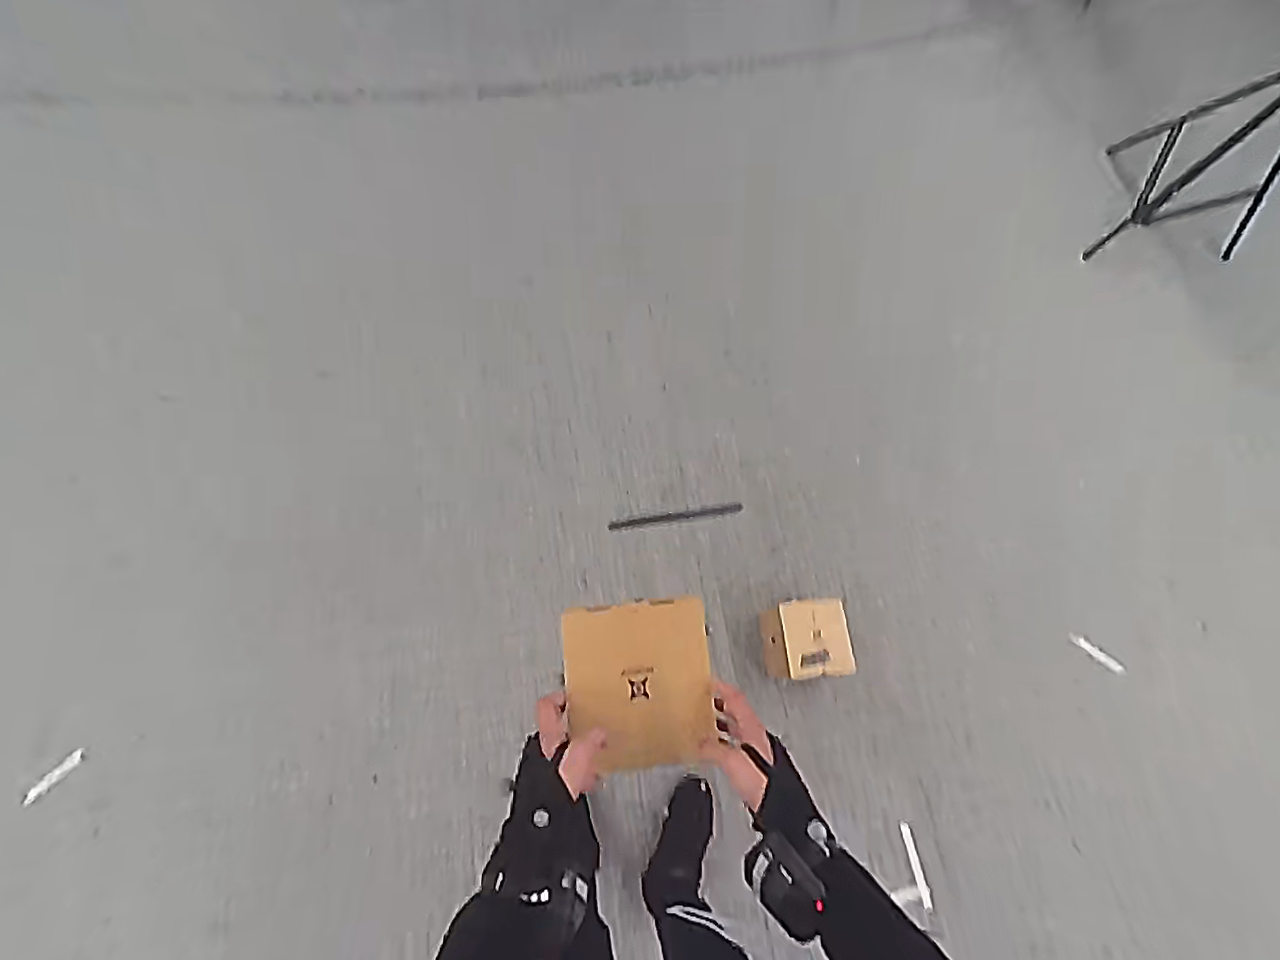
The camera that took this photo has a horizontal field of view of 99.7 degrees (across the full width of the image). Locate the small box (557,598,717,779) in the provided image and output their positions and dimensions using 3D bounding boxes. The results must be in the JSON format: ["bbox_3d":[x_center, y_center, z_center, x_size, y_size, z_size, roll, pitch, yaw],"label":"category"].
[{"bbox_3d":[-0.006,0.242,0.671,0.168,0.176,0.179,-6,77,-3],"label":"small box"}]

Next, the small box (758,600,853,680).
[{"bbox_3d":[0.411,0.407,1.370,0.168,0.176,0.179,-3,70,-7],"label":"small box"}]
